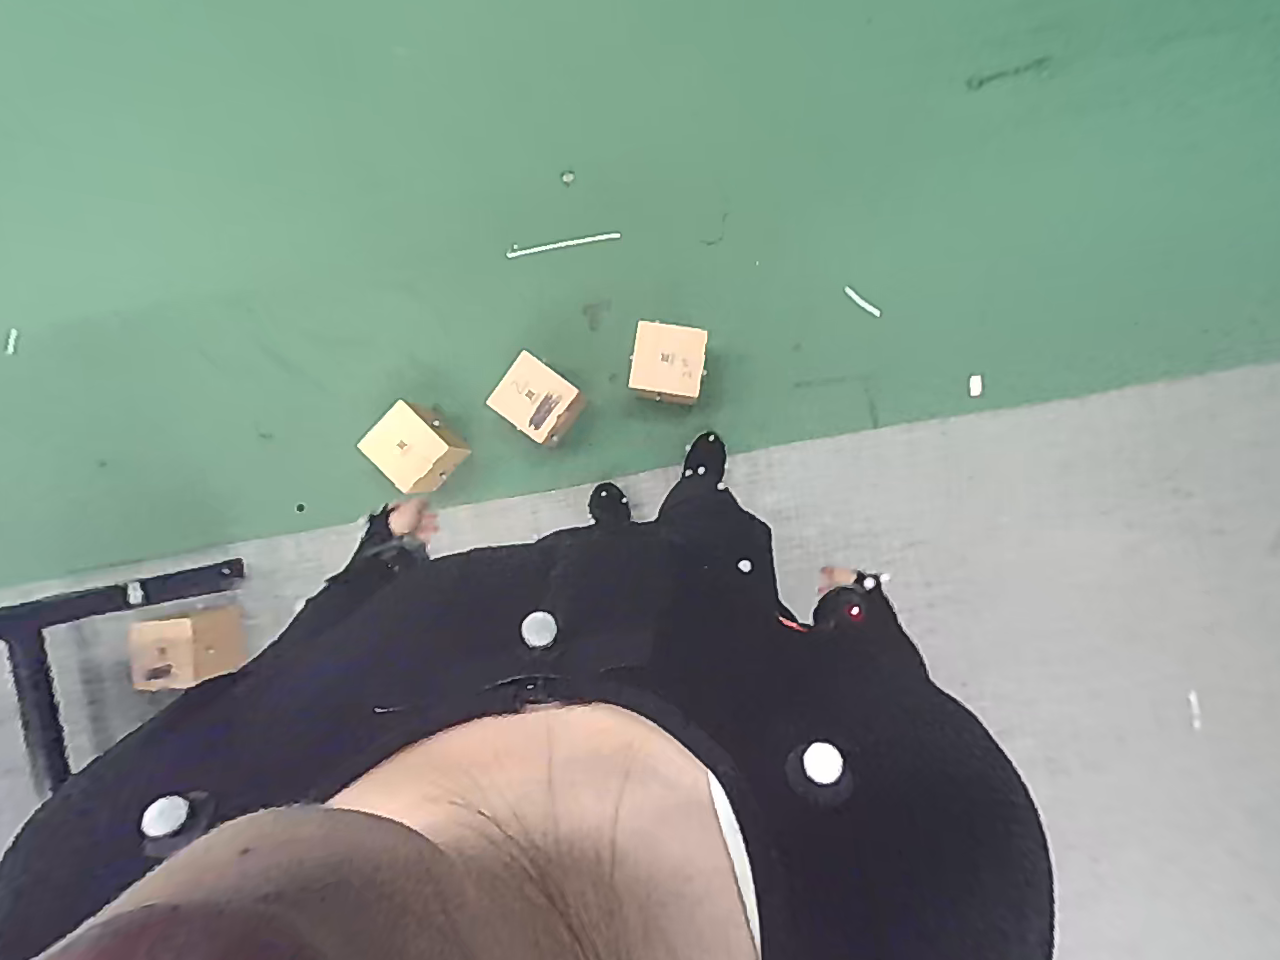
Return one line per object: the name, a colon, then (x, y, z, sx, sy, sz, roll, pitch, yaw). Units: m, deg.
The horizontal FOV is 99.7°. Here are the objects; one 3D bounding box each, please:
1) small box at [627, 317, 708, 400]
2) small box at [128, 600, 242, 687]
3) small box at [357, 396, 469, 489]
small box: (0.069, -0.304, 1.387, 0.179, 0.176, 0.168, 9, 93, 1)
small box: (-1.215, 0.434, 1.456, 0.168, 0.176, 0.179, -5, 91, 2)
small box: (-0.587, -0.094, 1.419, 0.179, 0.176, 0.168, 44, 93, -1)
